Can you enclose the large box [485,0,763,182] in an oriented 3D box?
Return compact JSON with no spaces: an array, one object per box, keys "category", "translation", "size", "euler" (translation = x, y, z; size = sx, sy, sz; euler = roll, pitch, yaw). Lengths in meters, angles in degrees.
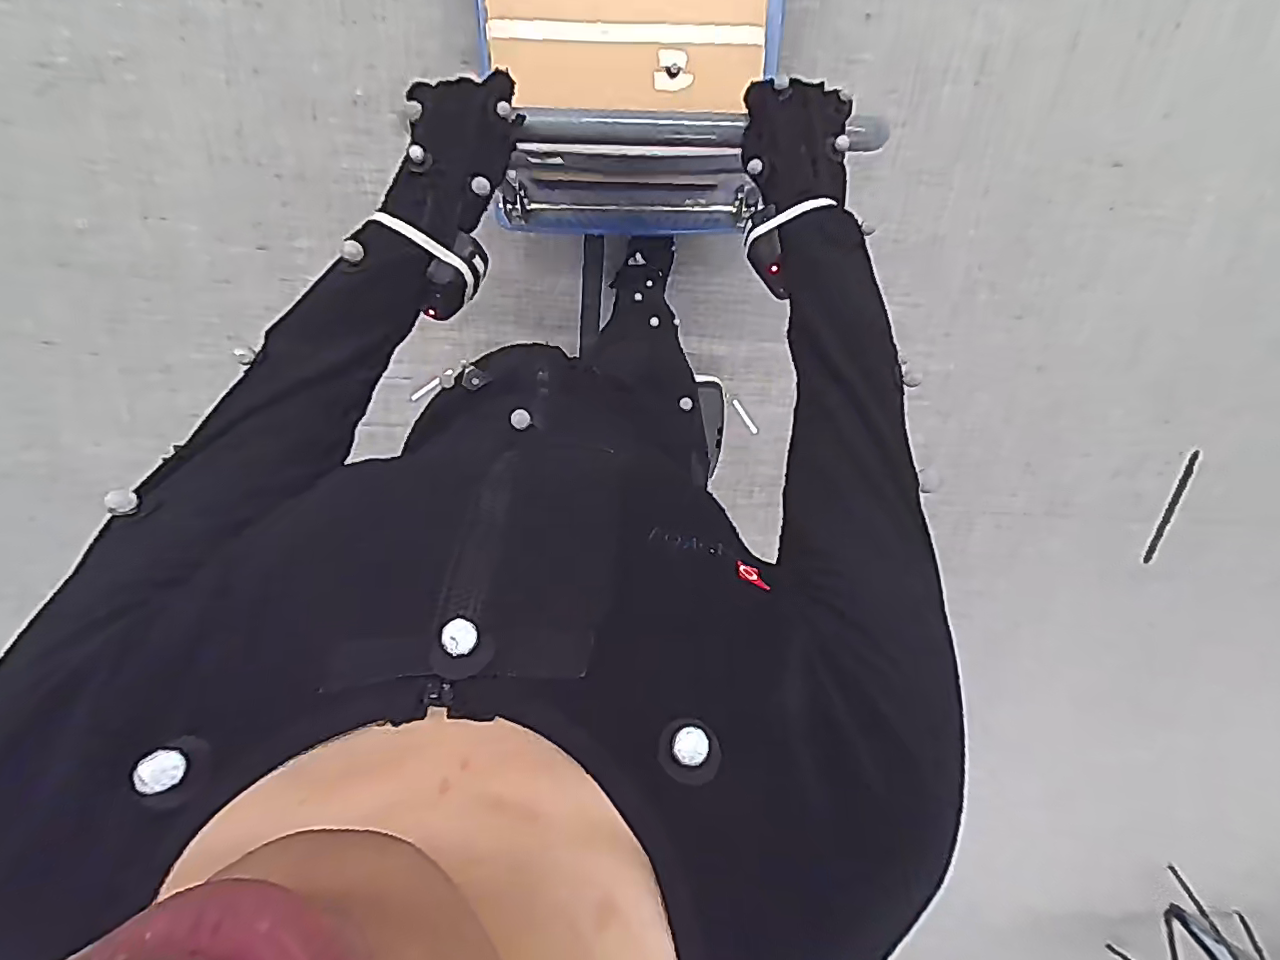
[{"category":"large box","translation":[-0.030,-0.704,0.921],"size":[0.408,0.320,0.320],"euler":[-1,113,-3]}]
